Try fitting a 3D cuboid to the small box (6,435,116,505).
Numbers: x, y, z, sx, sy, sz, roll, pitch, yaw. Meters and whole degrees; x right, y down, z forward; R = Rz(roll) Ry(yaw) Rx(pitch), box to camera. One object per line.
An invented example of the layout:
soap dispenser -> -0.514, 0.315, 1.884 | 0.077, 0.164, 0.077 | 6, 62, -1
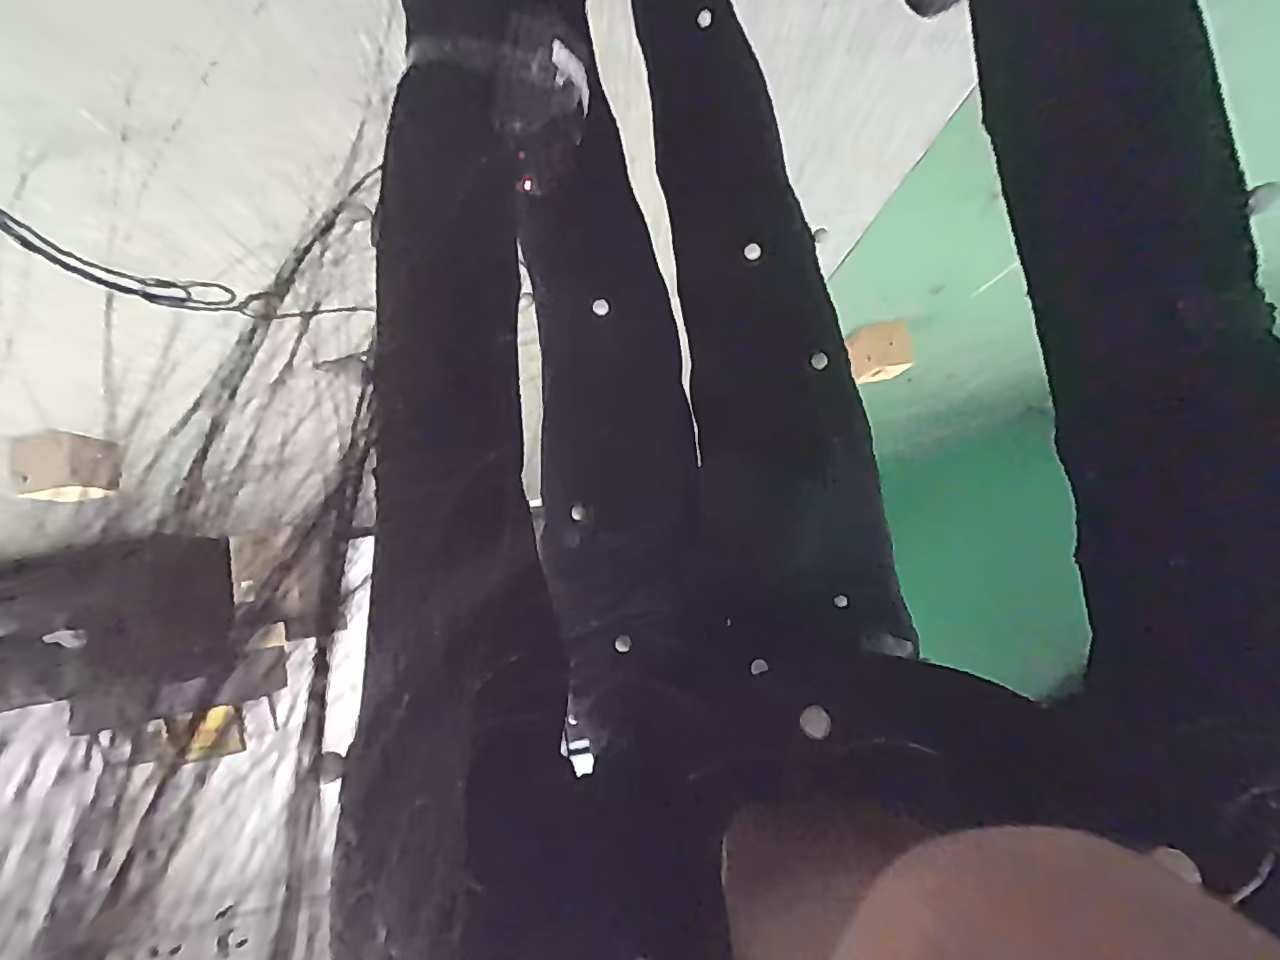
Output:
small box -> -1.783, -0.028, 1.673 | 0.179, 0.176, 0.168 | -10, 171, -3
